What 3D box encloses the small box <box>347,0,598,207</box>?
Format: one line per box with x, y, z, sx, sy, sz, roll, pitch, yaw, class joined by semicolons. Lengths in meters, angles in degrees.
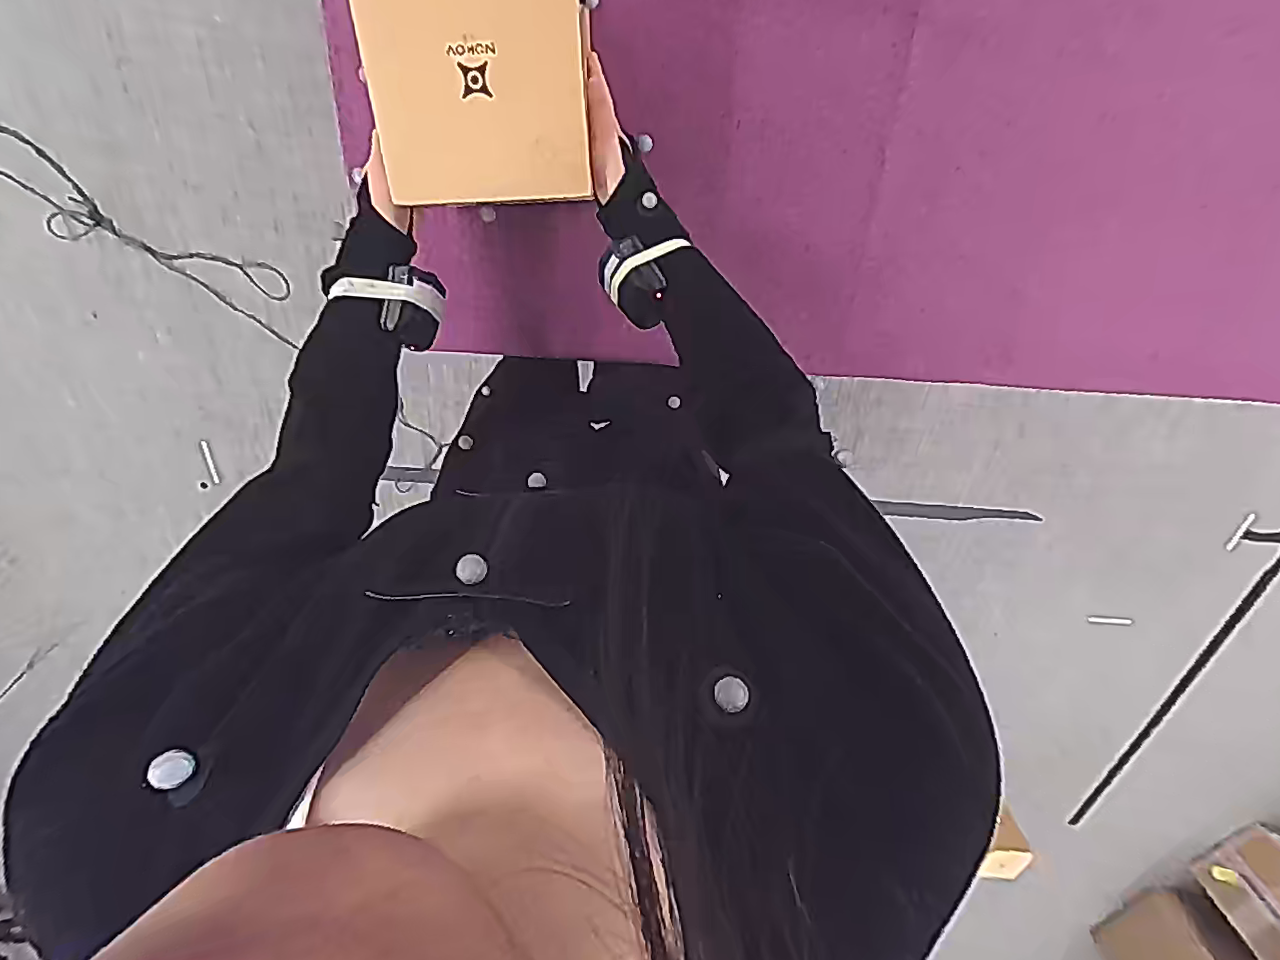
-0.127;-0.342;0.477;0.168;0.176;0.179;-3;116;0;small box

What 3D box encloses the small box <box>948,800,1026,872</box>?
1.332;1.377;2.092;0.168;0.176;0.179;6;118;-4;small box

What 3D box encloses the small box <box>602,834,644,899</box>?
-0.070;1.578;2.210;0.168;0.176;0.179;0;120;0;small box

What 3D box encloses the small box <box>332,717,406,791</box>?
-1.052;1.071;2.115;0.179;0.176;0.168;-38;112;19;small box

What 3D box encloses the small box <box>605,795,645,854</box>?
-0.064;1.498;2.354;0.168;0.176;0.179;0;120;1;small box
